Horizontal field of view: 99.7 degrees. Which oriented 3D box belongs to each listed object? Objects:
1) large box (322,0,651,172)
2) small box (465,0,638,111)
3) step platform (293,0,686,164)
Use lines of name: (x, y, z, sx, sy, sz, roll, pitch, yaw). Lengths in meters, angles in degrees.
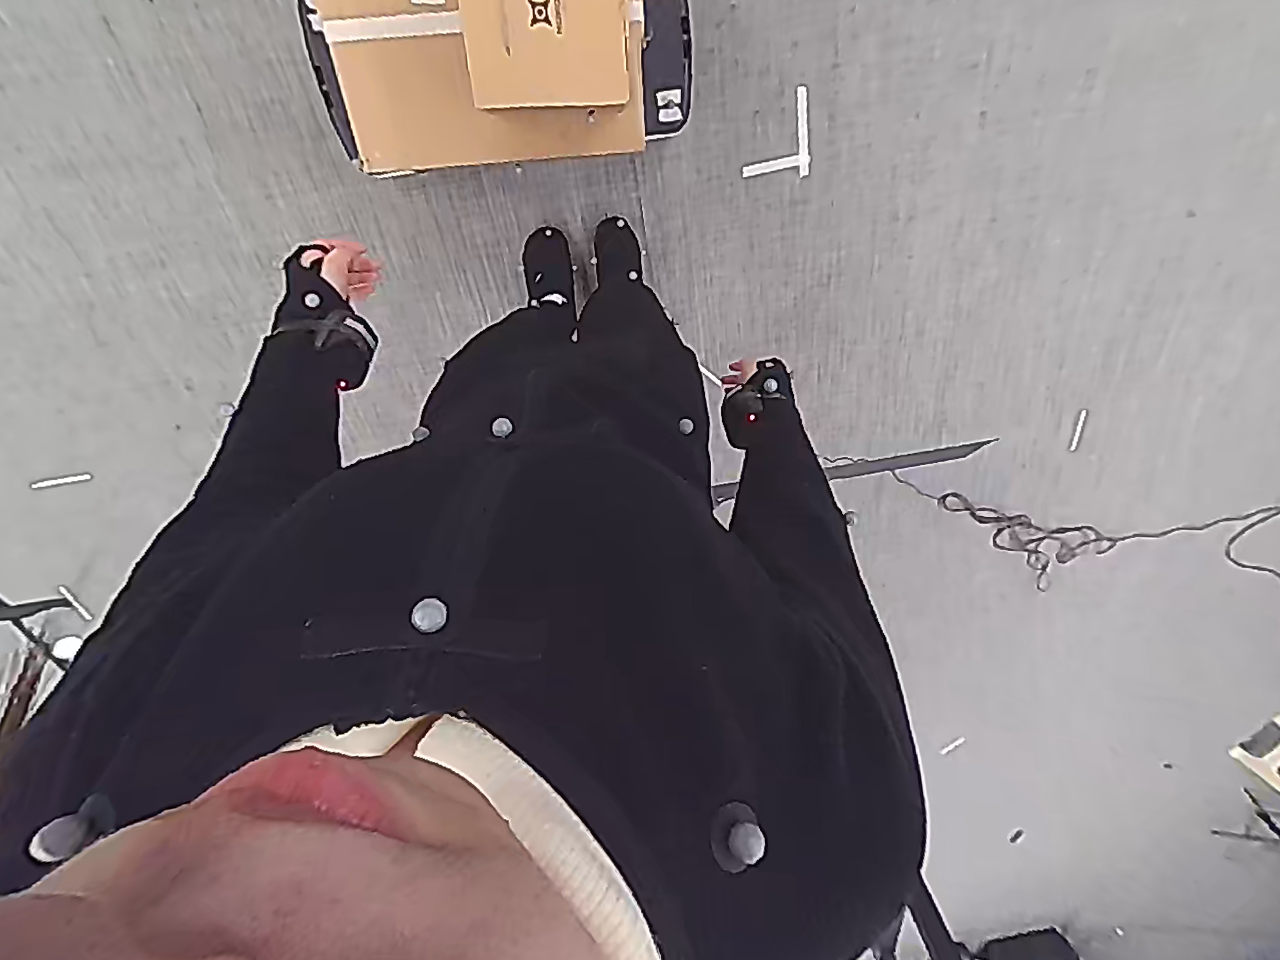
large box: (-0.204, -0.662, 0.816, 0.408, 0.320, 0.320, -6, 120, -2)
small box: (-0.099, -0.530, 0.620, 0.179, 0.176, 0.168, -4, 121, -4)
step platform: (-0.254, -0.775, 1.022, 0.684, 0.204, 0.286, -4, 121, -3)
